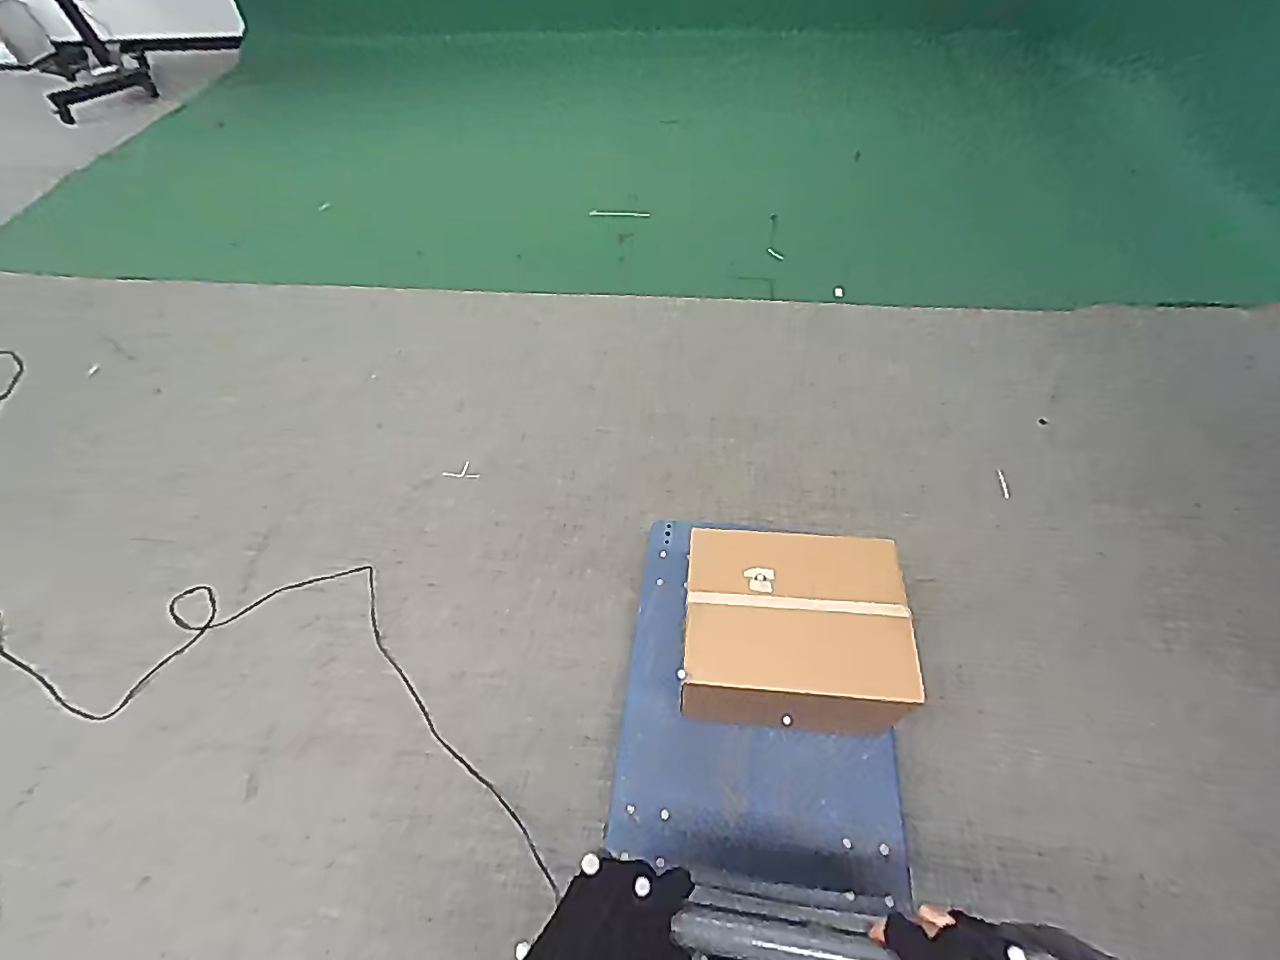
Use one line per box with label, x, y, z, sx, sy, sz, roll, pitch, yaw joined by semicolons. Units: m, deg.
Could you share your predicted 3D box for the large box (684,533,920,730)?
large box;0.301;0.324;1.135;0.408;0.320;0.320;2;54;6
